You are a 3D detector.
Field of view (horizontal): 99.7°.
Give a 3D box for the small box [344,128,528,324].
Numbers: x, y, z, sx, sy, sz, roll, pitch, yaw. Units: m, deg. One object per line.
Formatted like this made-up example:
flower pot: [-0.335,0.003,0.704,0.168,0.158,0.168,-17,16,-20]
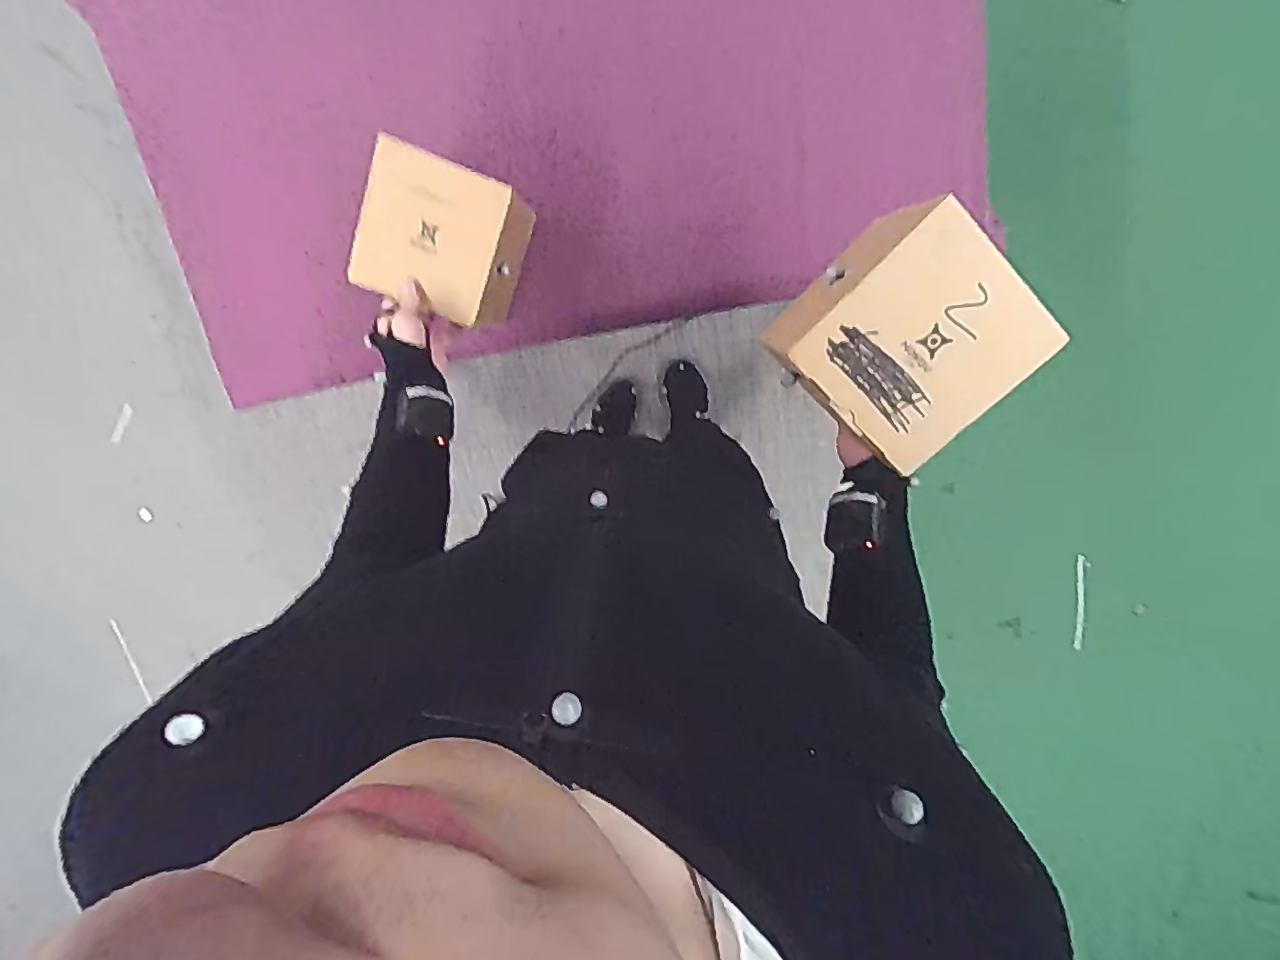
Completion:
small box: [-0.265,-0.329,0.738,0.168,0.176,0.179,21,105,-8]
